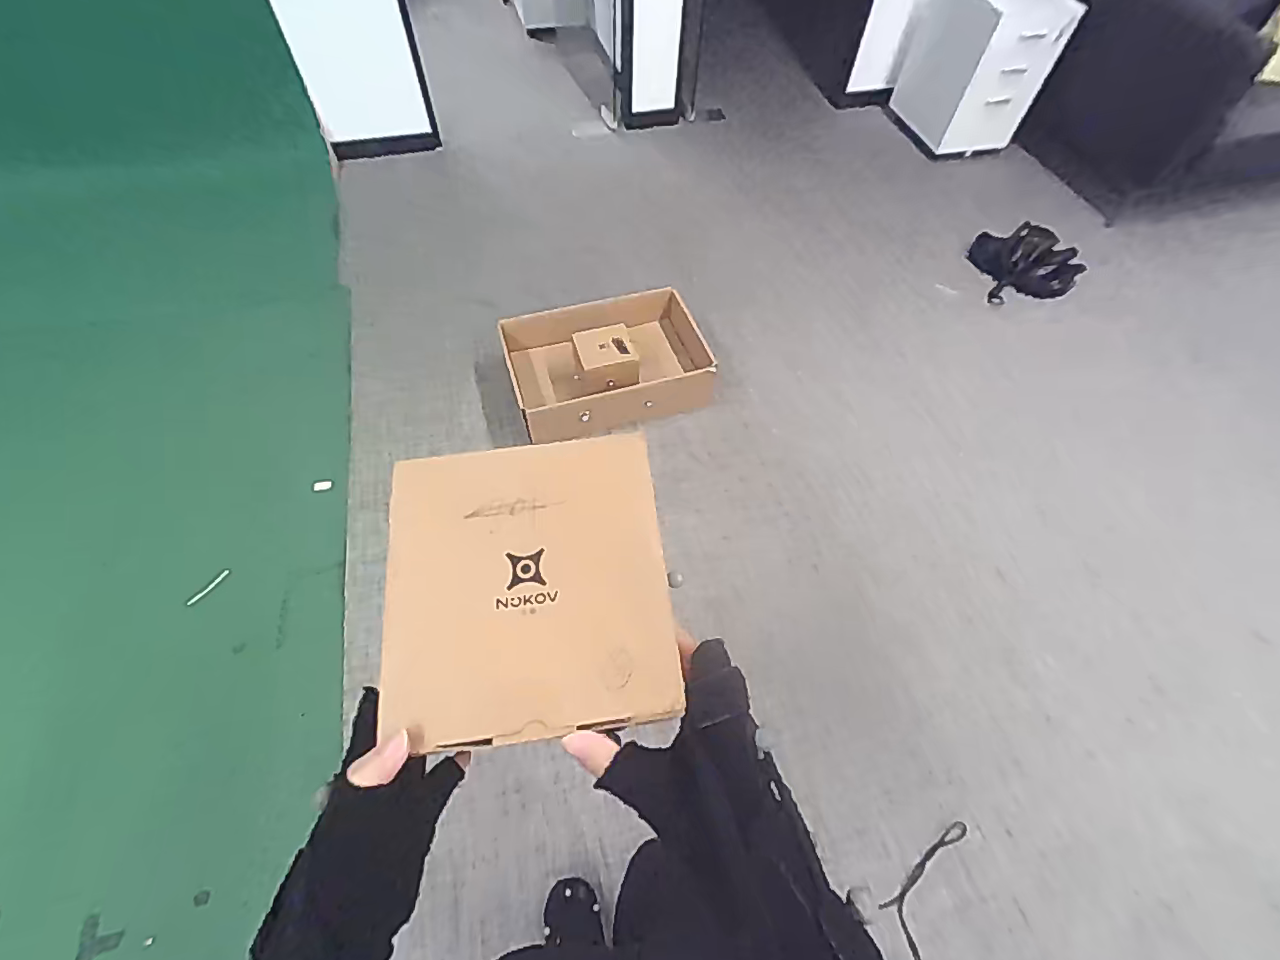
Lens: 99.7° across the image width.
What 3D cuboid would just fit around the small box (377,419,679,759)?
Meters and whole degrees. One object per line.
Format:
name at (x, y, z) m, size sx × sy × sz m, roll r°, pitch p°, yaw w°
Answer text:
small box at (-0.070, 0.083, 0.393) m, size 0.168 × 0.176 × 0.179 m, roll -11°, pitch 67°, yaw -3°

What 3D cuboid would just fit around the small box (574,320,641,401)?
small box at (-0.104, -0.380, 1.730) m, size 0.179 × 0.176 × 0.168 m, roll -15°, pitch 59°, yaw -9°
